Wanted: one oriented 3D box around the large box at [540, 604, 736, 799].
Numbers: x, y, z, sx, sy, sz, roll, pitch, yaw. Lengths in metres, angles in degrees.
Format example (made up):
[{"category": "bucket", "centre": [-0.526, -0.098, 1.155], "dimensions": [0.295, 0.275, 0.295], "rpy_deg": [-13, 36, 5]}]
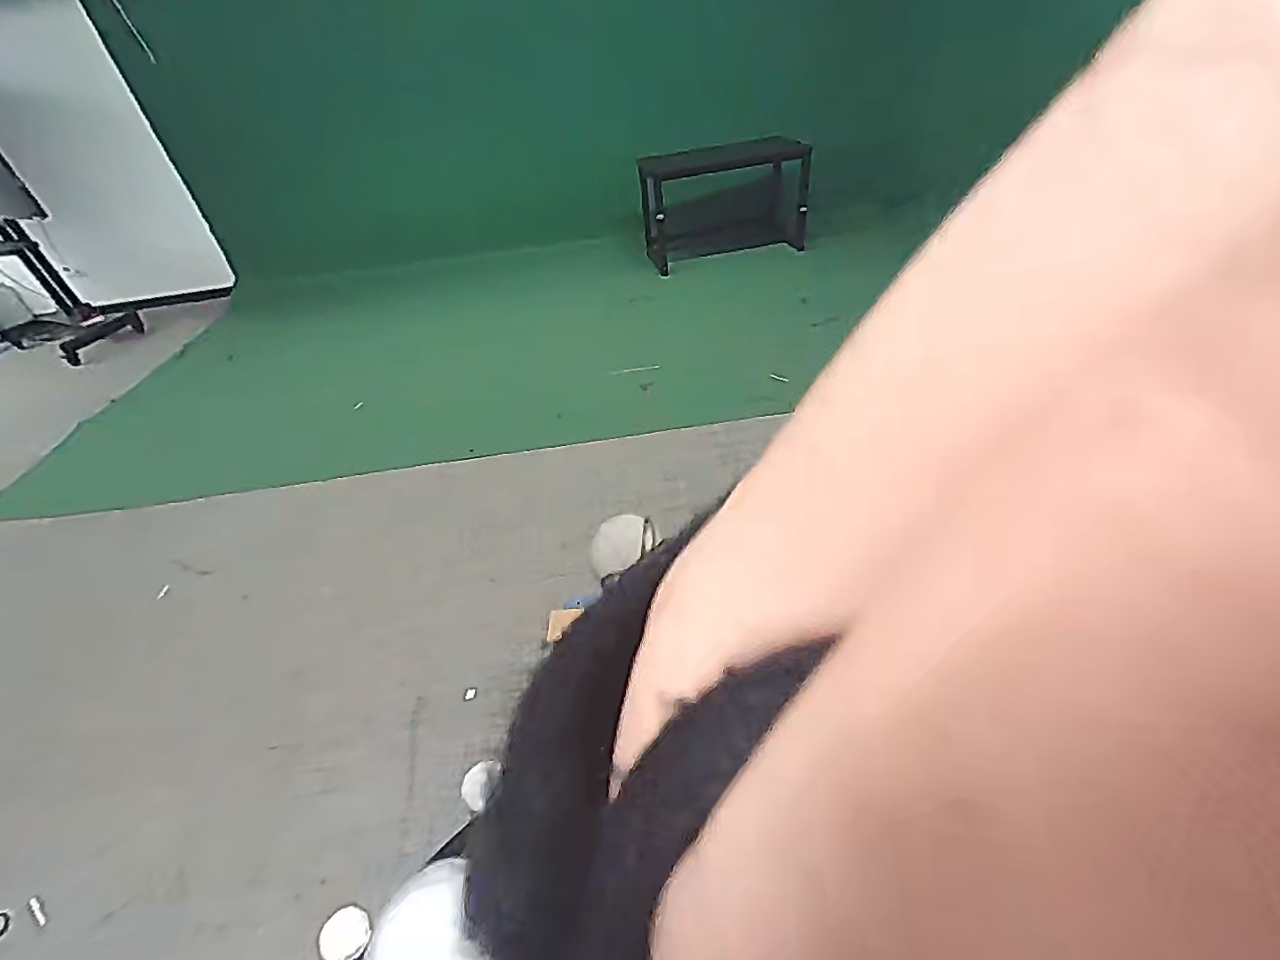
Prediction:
[{"category": "large box", "centre": [0.000, 0.527, 1.288], "dimensions": [0.408, 0.320, 0.320], "rpy_deg": [-4, 40, 2]}]
